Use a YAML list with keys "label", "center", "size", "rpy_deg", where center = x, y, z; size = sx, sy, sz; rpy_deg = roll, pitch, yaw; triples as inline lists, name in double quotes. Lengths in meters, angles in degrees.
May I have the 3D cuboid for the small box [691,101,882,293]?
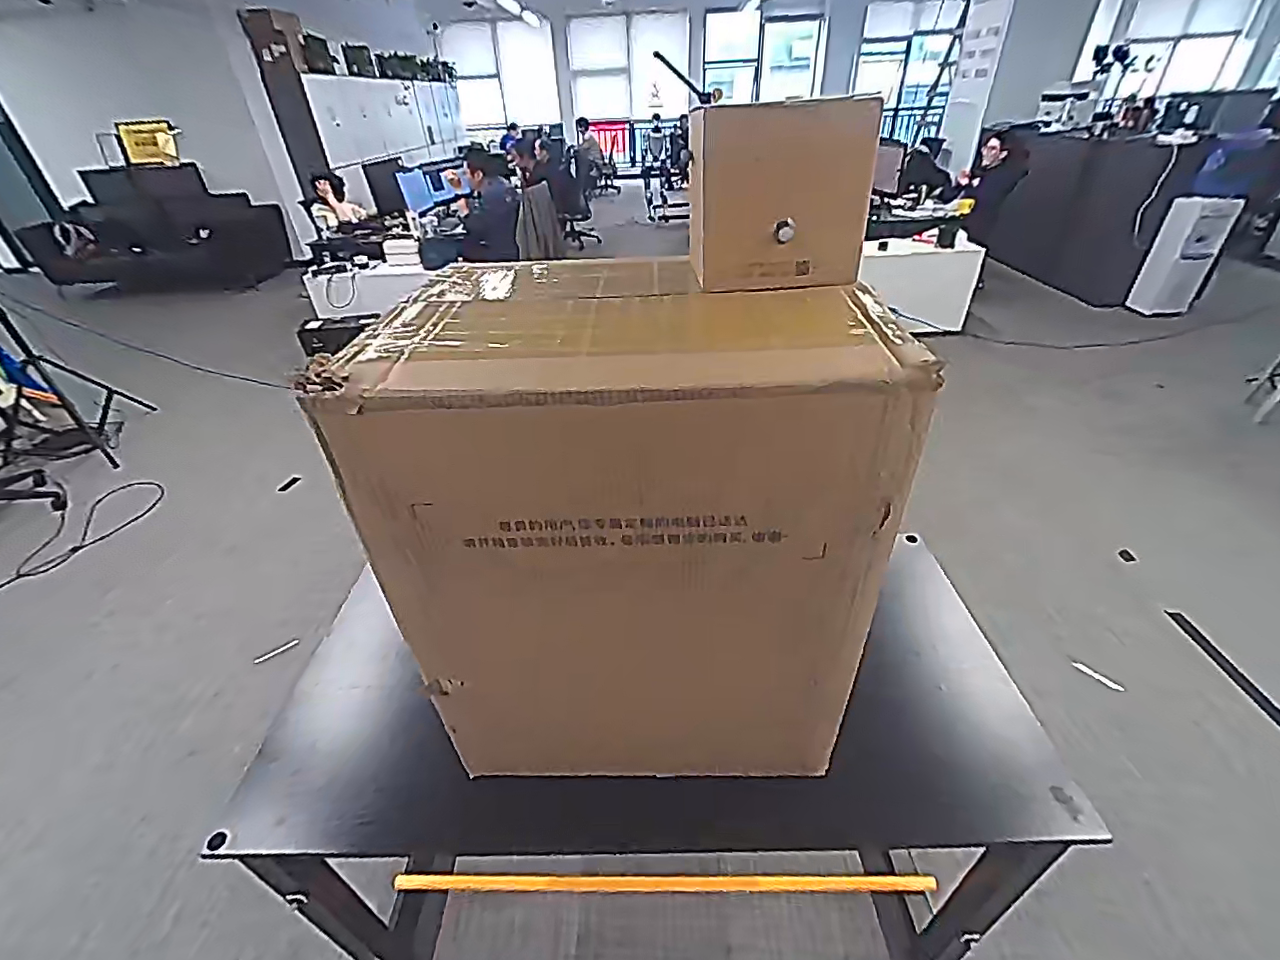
- label: "small box"
  center: [0.145, -0.315, 0.606]
  size: [0.168, 0.176, 0.179]
  rpy_deg: [-3, 33, 2]
